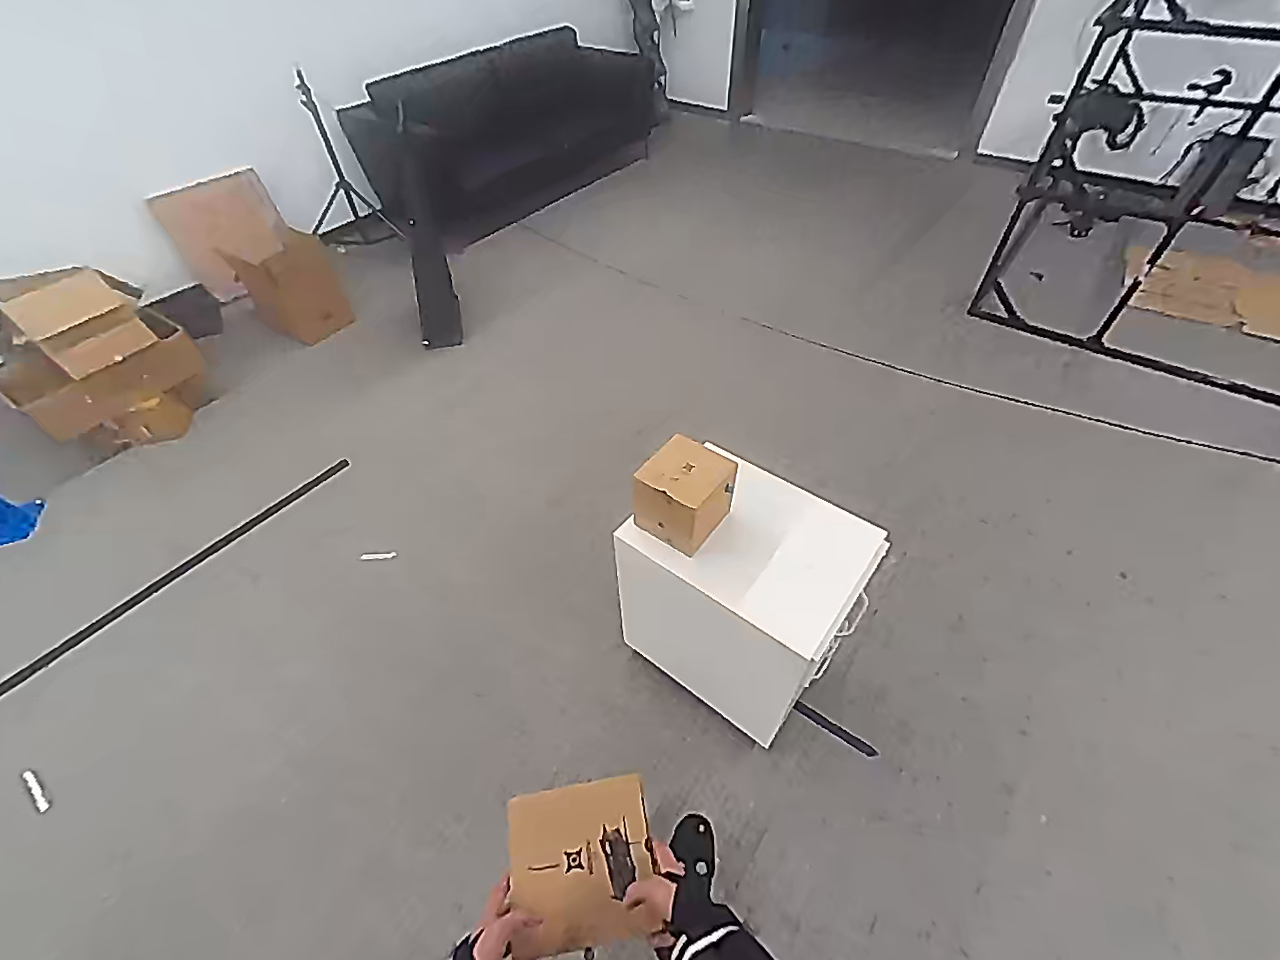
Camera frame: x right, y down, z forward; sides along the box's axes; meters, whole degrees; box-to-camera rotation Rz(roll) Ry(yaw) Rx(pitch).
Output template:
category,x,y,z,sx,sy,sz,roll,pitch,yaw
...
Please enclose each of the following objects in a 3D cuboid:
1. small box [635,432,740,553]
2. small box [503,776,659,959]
category,x,y,z,sx,sy,sz,roll,pitch,yaw
small box,0.102,0.029,1.222,0.168,0.176,0.179,29,55,25
small box,-0.076,0.509,0.714,0.179,0.176,0.168,-9,52,-5
